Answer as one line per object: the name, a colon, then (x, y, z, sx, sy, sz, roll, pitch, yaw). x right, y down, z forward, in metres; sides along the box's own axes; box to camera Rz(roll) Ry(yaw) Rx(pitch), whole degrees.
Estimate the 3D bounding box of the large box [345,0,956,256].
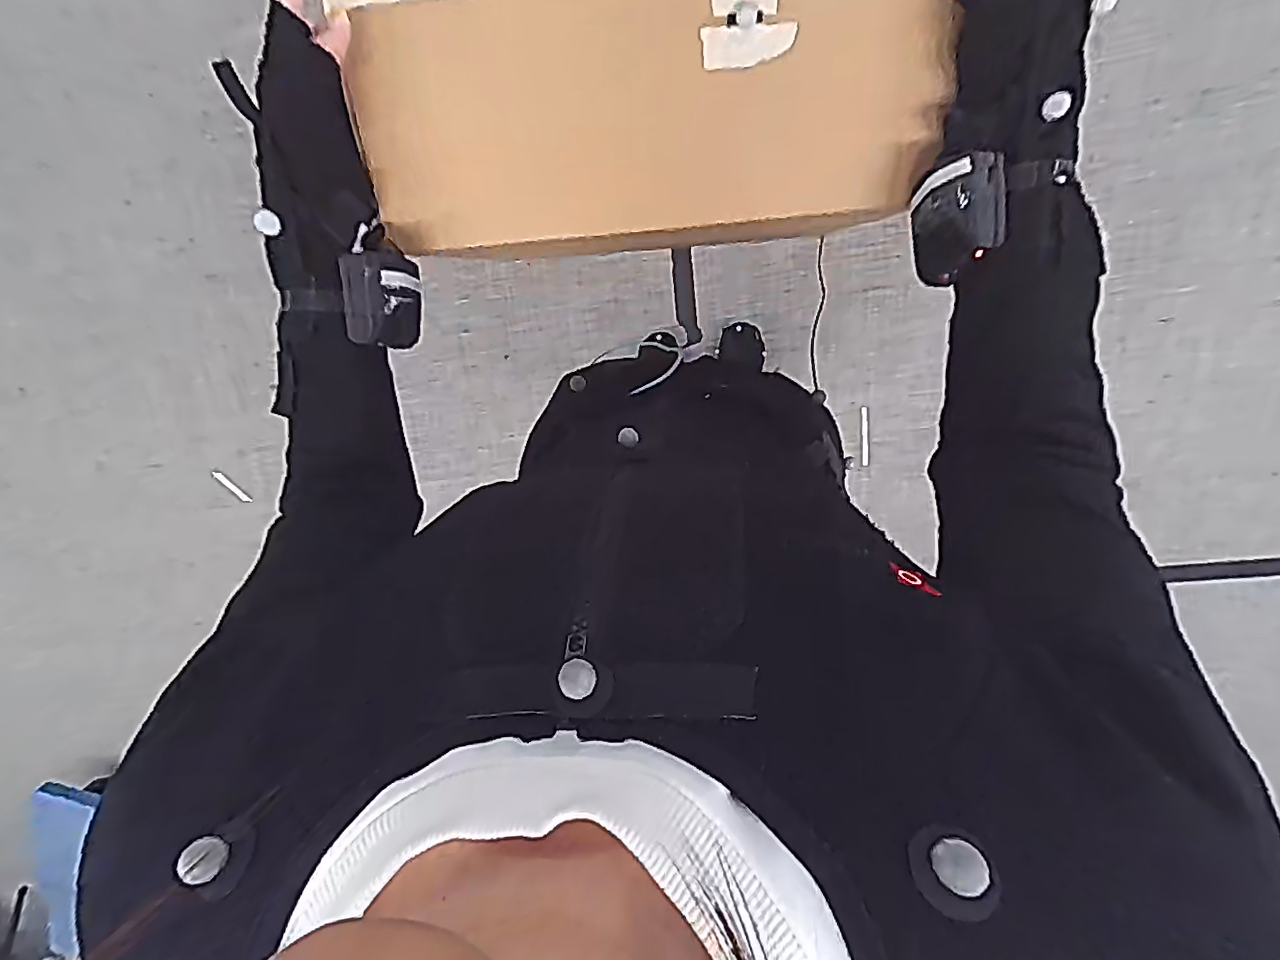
large box: (0.006, -0.390, 0.480, 0.408, 0.320, 0.320, -4, 111, 5)
